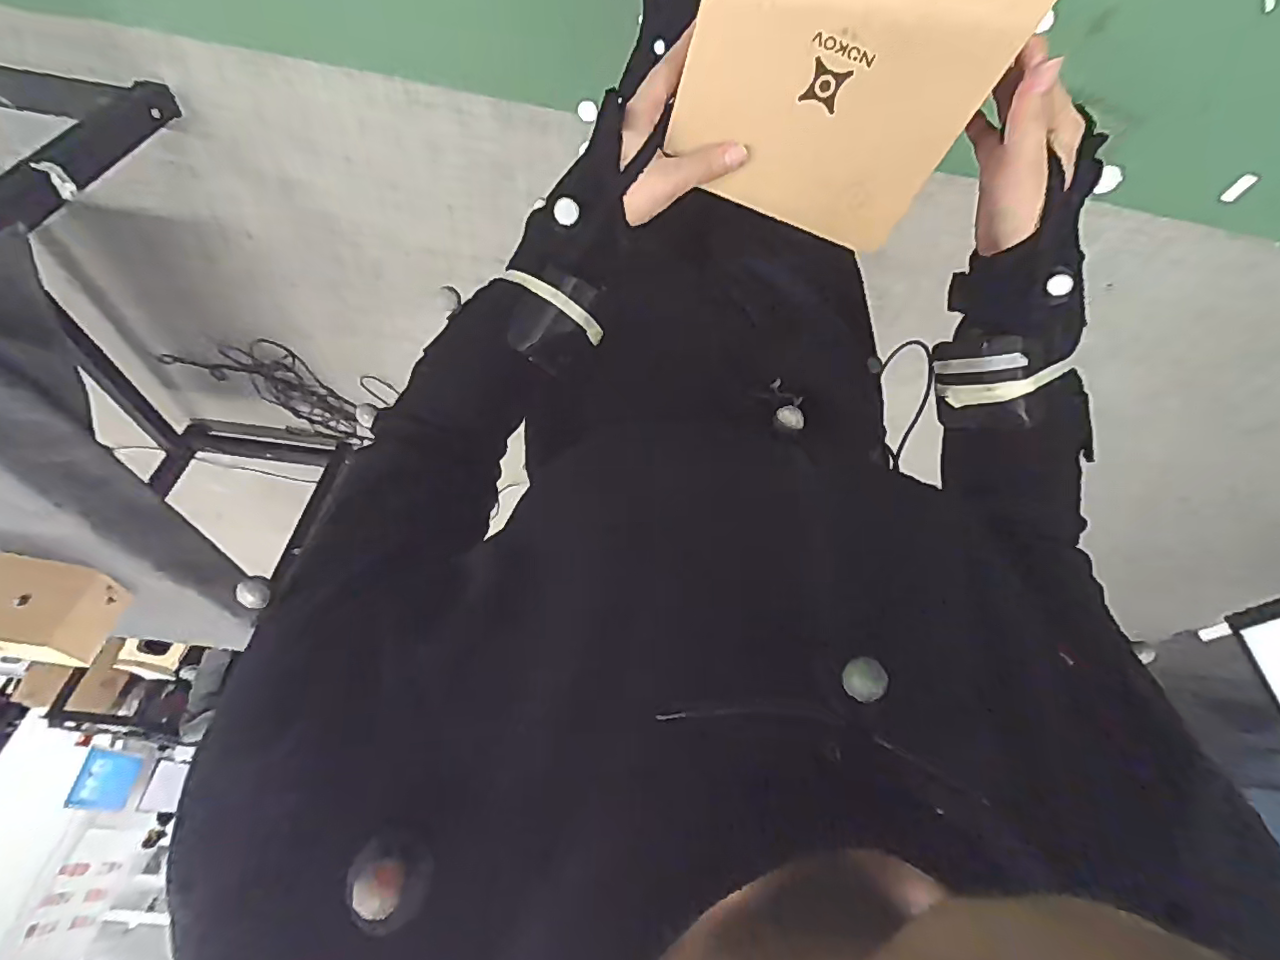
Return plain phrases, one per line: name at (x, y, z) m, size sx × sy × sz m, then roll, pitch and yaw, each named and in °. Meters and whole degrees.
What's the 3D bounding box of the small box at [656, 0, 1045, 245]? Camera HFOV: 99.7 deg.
small box at (0.127, -0.298, 0.345) m, size 0.168 × 0.176 × 0.179 m, roll 20°, pitch 149°, yaw -4°
